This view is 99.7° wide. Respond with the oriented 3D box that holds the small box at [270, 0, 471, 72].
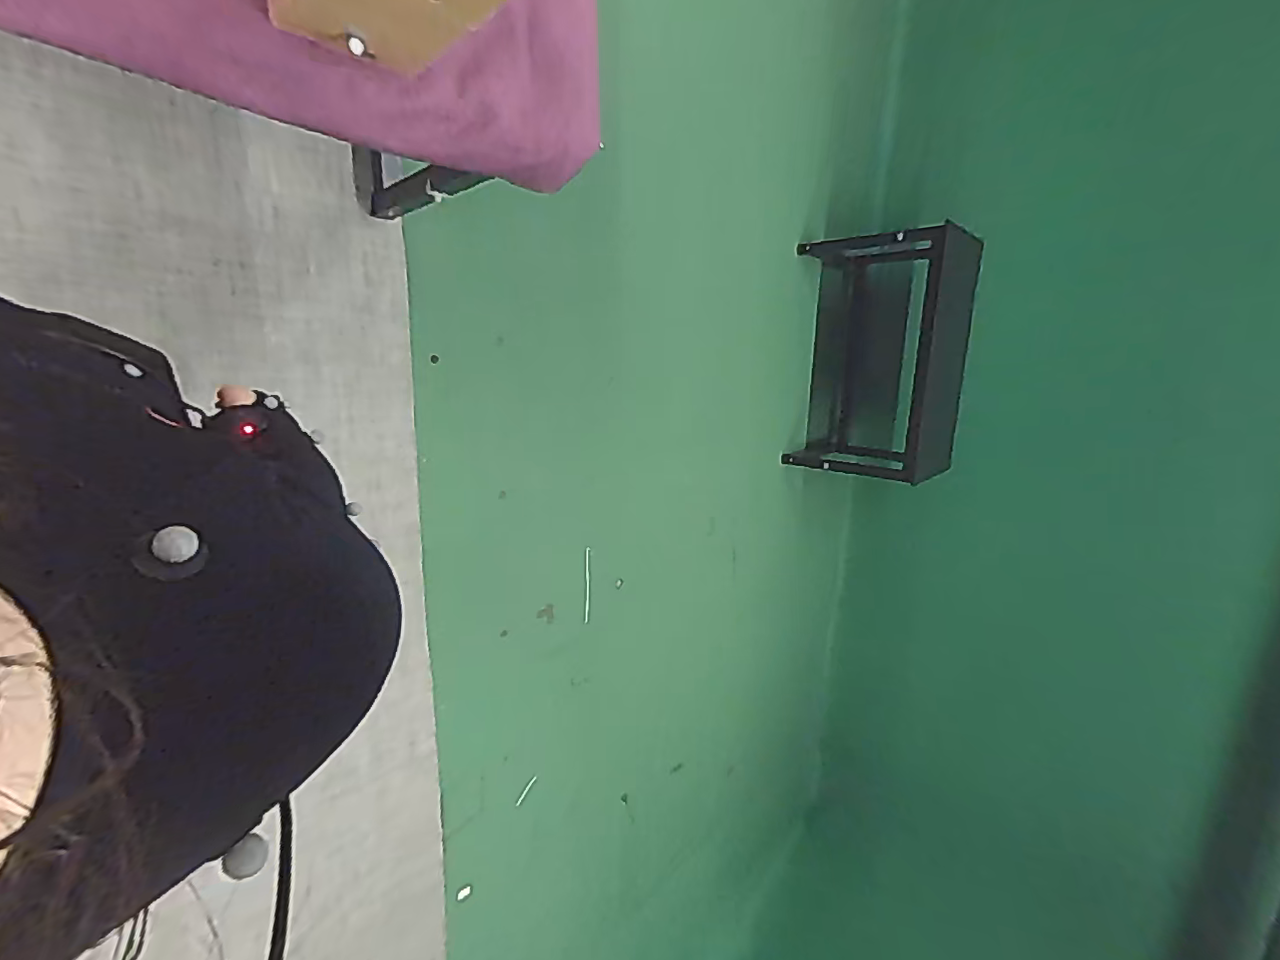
[{"bbox_3d":[-0.307,-0.606,0.601,0.168,0.176,0.179,-11,108,-45],"label":"small box"}]
